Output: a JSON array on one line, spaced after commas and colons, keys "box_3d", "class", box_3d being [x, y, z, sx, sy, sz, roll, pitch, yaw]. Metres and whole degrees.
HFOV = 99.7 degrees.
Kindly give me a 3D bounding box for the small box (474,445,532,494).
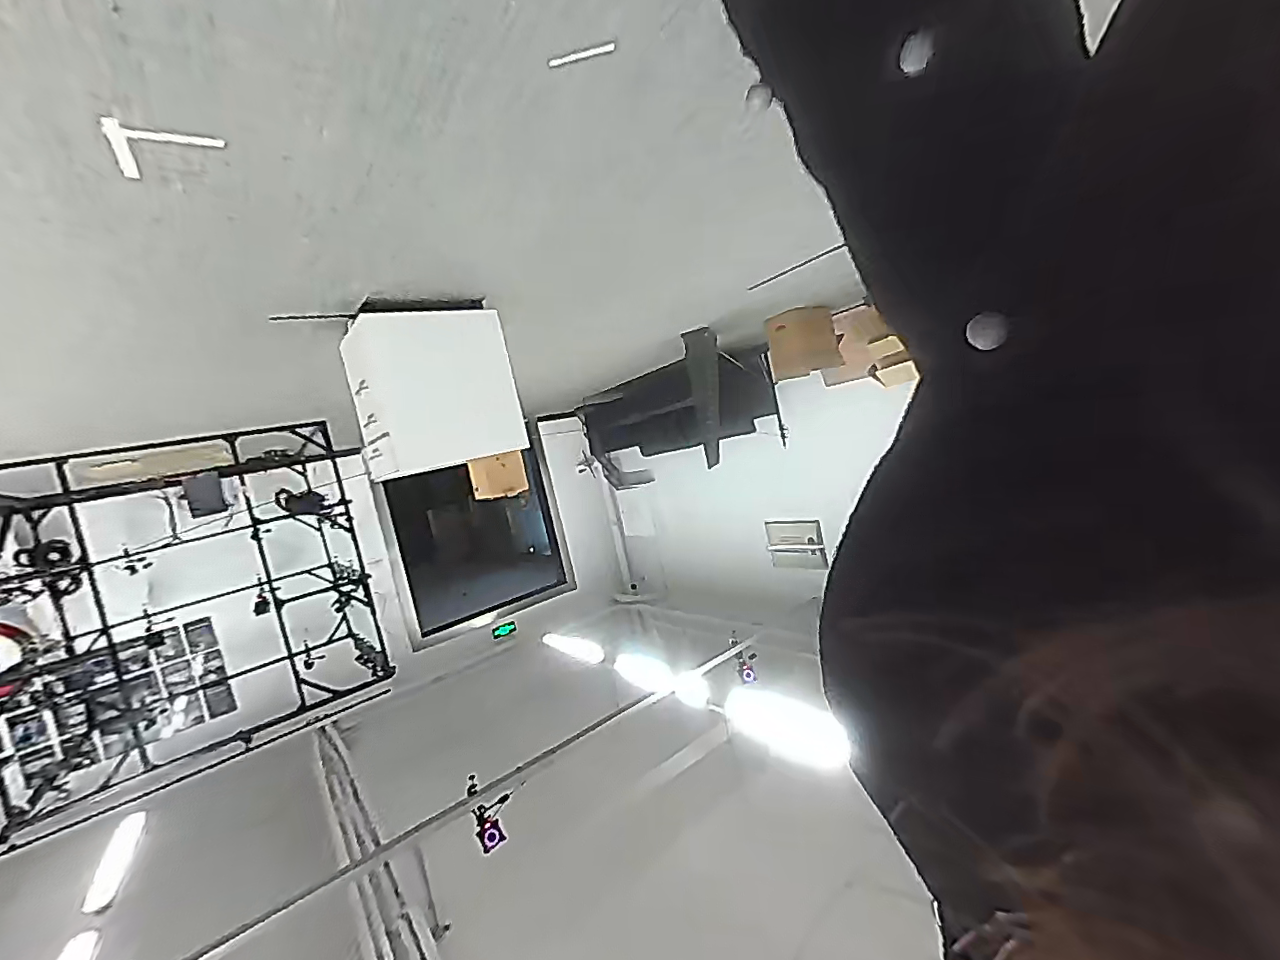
[{"box_3d": [-0.571, -0.046, 2.228, 0.168, 0.176, 0.179, -16, -174, -36], "class": "small box"}]
